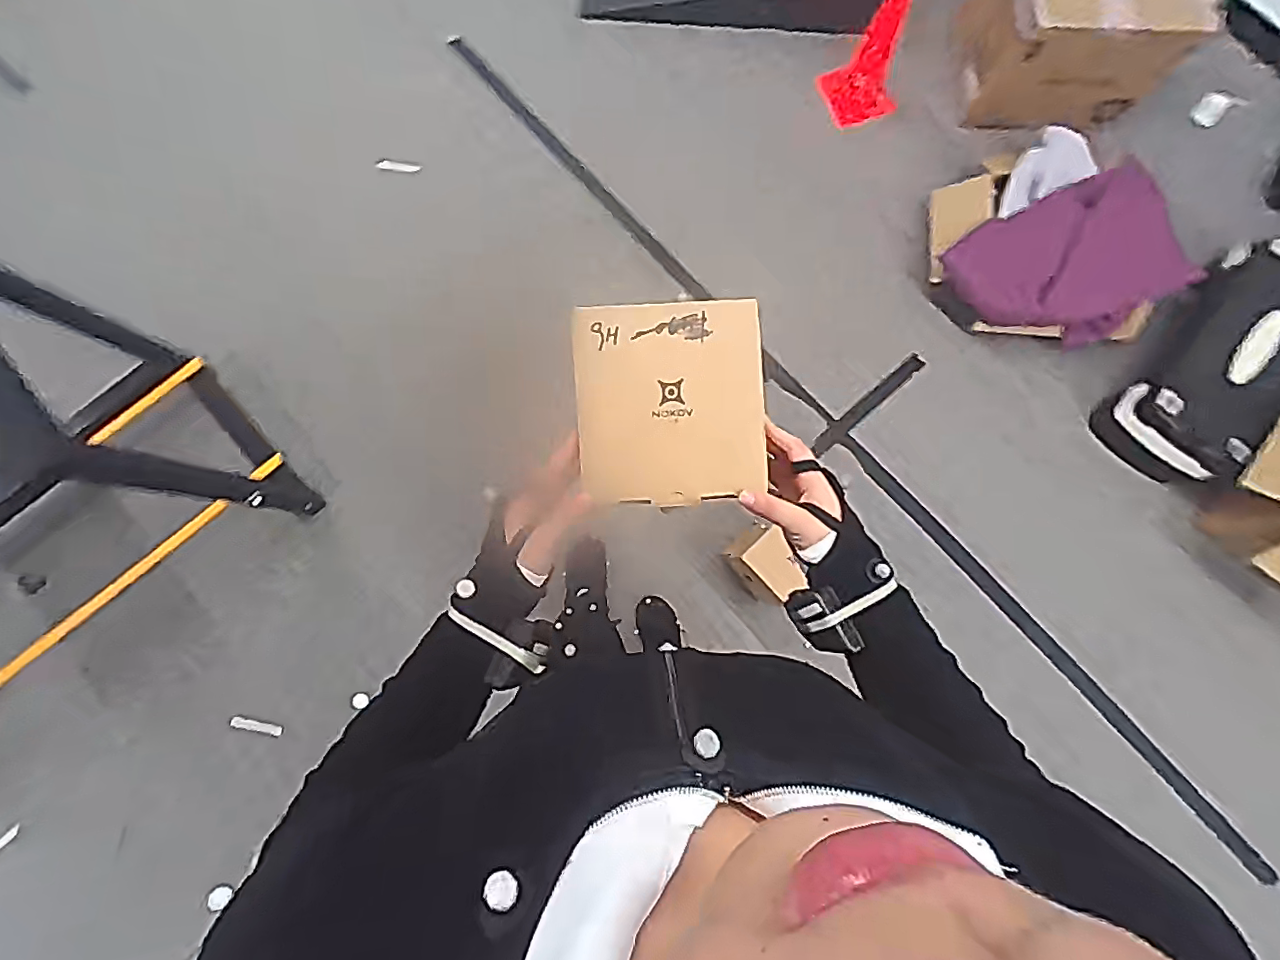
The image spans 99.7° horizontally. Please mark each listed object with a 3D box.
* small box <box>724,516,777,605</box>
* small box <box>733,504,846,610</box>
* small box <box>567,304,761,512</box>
[{"bbox_3d":[0.343,0.208,1.432,0.168,0.176,0.179,-38,85,-5],"label":"small box"},{"bbox_3d":[0.341,0.179,1.272,0.179,0.176,0.168,-43,83,-5],"label":"small box"},{"bbox_3d":[0.020,-0.067,0.553,0.168,0.176,0.179,-4,92,-2],"label":"small box"}]
